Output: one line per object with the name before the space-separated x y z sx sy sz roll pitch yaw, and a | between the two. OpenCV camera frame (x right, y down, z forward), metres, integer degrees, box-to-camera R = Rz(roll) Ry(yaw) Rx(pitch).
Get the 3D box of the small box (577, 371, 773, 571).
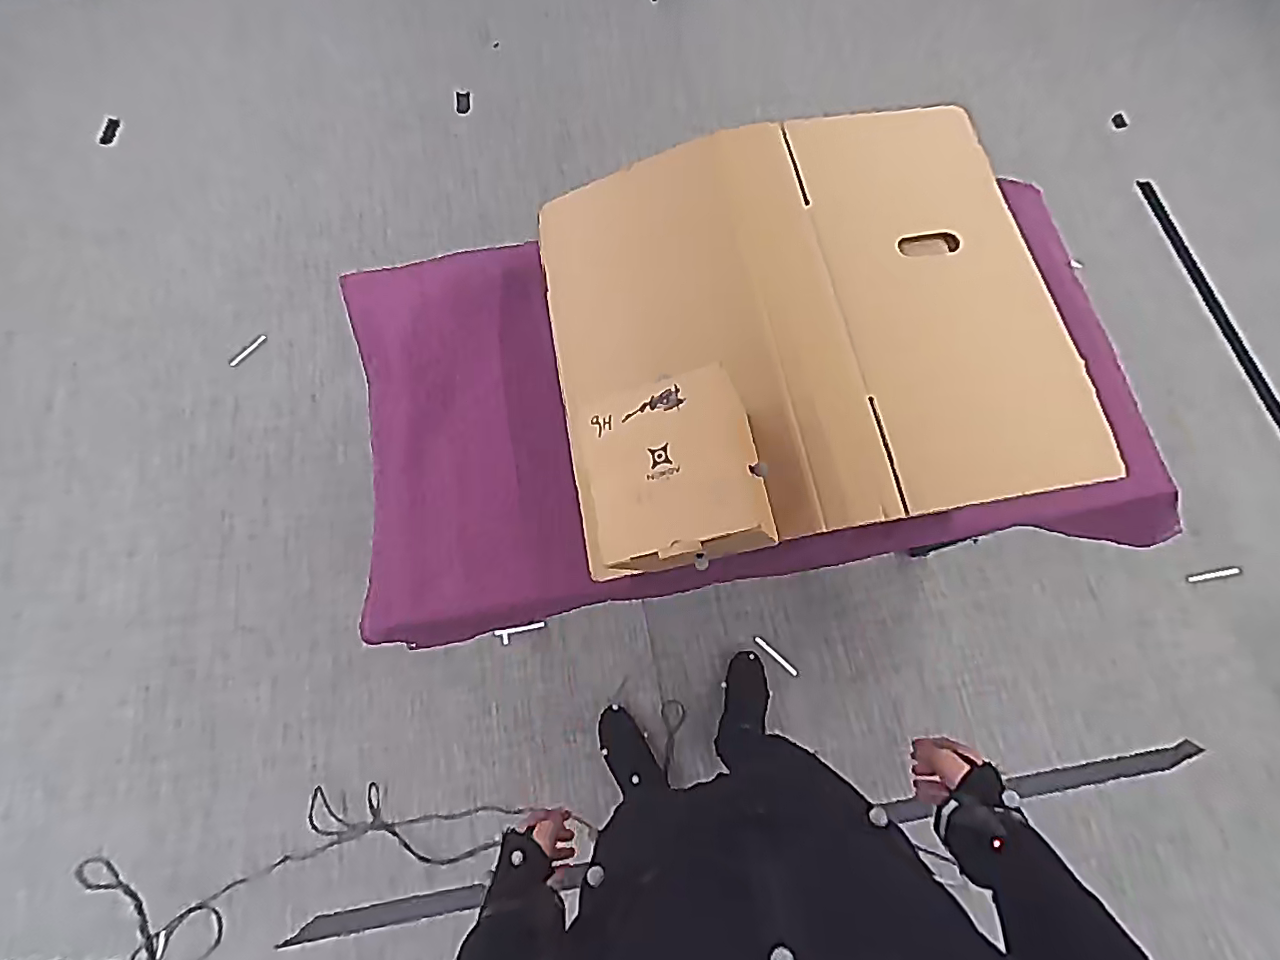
small box | 0.048 0.003 0.624 0.168 0.176 0.179 -16 75 16
